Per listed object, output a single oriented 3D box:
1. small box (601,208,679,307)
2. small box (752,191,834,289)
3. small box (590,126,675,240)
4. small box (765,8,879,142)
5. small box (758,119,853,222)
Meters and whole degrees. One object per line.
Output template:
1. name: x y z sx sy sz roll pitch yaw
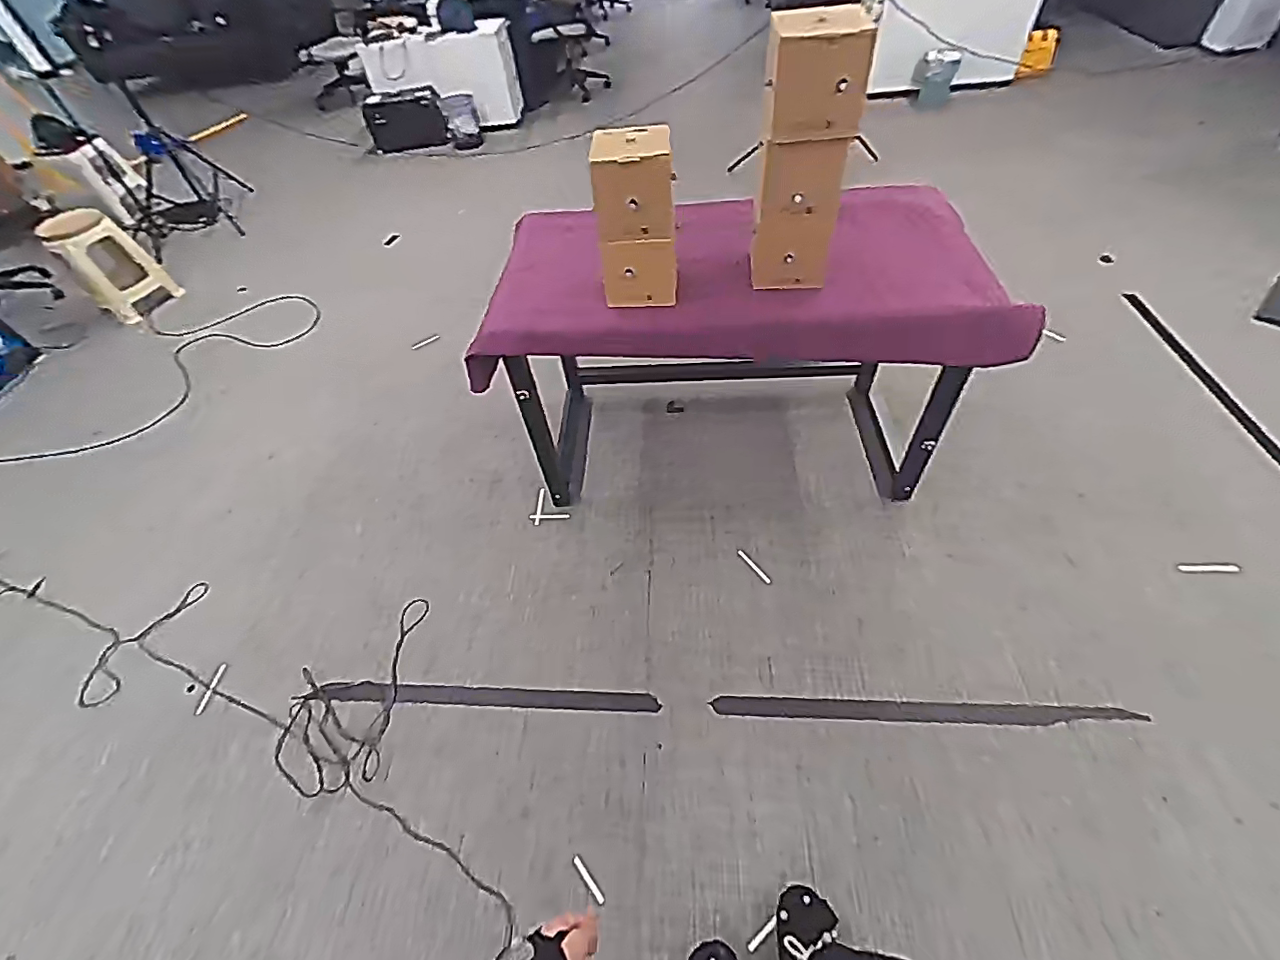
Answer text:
1. small box: 0.006 -0.532 1.303 0.168 0.176 0.179 0 50 6
2. small box: 0.360 -0.575 1.297 0.168 0.176 0.179 2 51 7
3. small box: -0.009 -0.641 1.181 0.168 0.176 0.179 -2 50 4
4. small box: 0.335 -0.765 1.032 0.168 0.176 0.179 -1 51 5
5. small box: 0.349 -0.681 1.172 0.168 0.176 0.179 1 52 8
